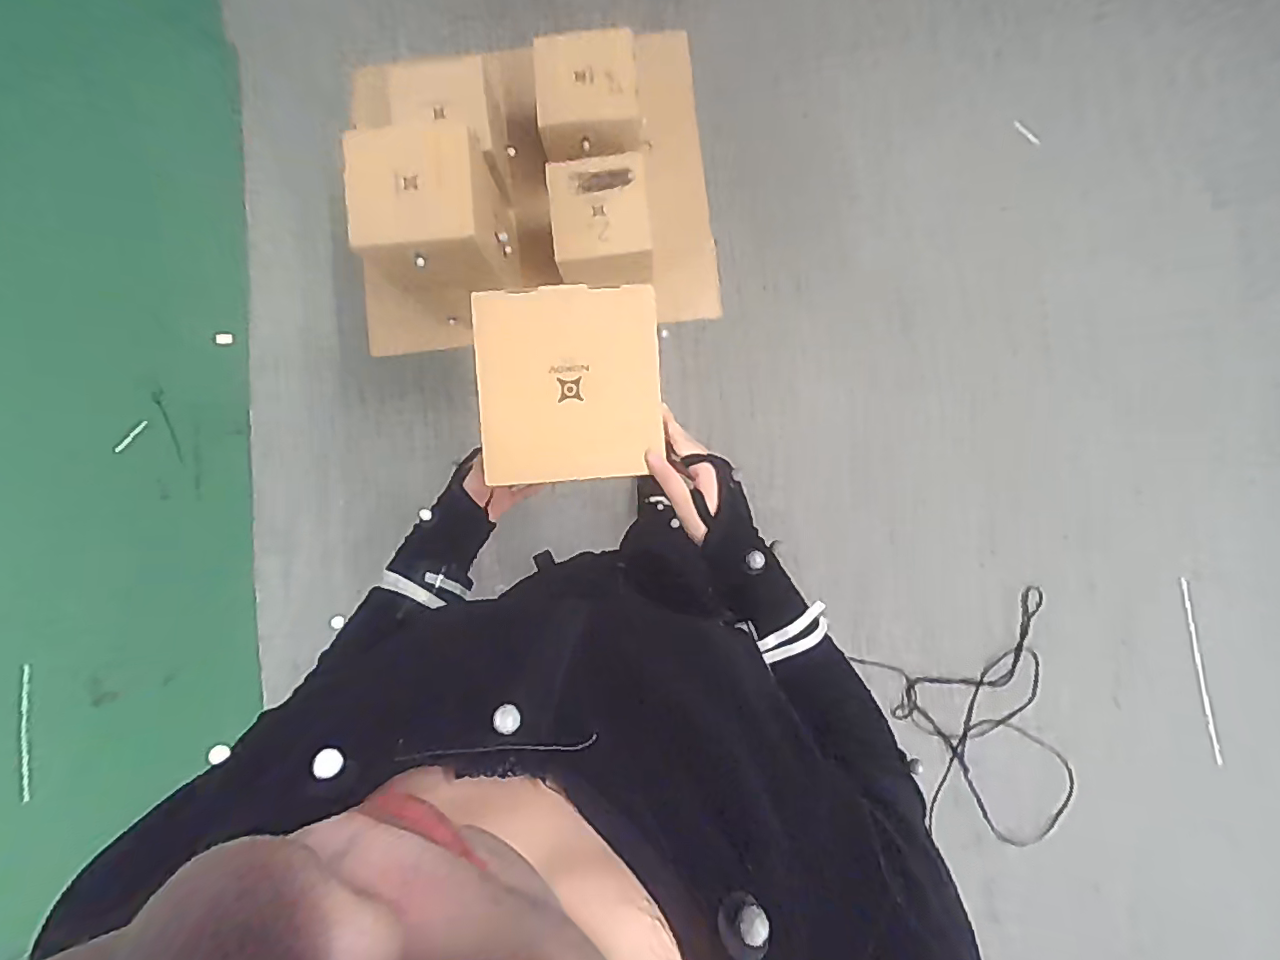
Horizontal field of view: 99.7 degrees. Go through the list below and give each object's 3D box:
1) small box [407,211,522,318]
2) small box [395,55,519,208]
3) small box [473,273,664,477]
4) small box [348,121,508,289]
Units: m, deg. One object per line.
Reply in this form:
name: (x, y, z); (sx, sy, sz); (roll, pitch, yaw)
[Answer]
small box: (-0.313, -0.406, 0.983); (0.168, 0.176, 0.179); (-4, 85, 1)
small box: (-0.331, -0.628, 1.000); (0.168, 0.176, 0.179); (-7, 85, 2)
small box: (-0.066, -0.096, 0.566); (0.168, 0.176, 0.179); (-4, 90, -3)
small box: (-0.311, -0.402, 0.819); (0.179, 0.176, 0.168); (-4, 87, 1)
